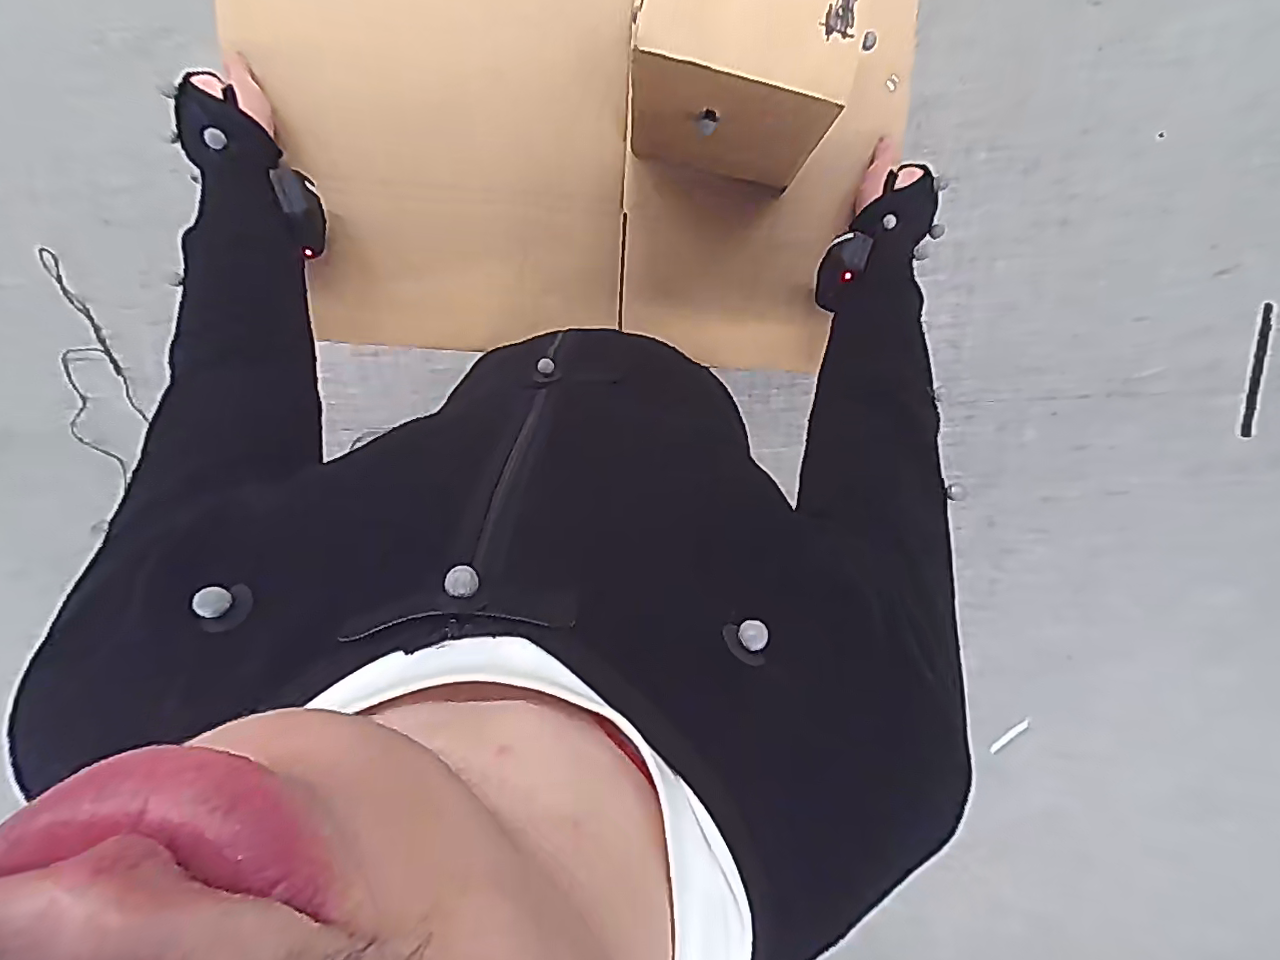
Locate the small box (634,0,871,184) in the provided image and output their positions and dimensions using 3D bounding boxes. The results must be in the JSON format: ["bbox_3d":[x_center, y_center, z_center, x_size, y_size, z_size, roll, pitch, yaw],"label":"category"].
[{"bbox_3d":[0.097,-0.404,0.500,0.179,0.176,0.168,13,97,-2],"label":"small box"}]
